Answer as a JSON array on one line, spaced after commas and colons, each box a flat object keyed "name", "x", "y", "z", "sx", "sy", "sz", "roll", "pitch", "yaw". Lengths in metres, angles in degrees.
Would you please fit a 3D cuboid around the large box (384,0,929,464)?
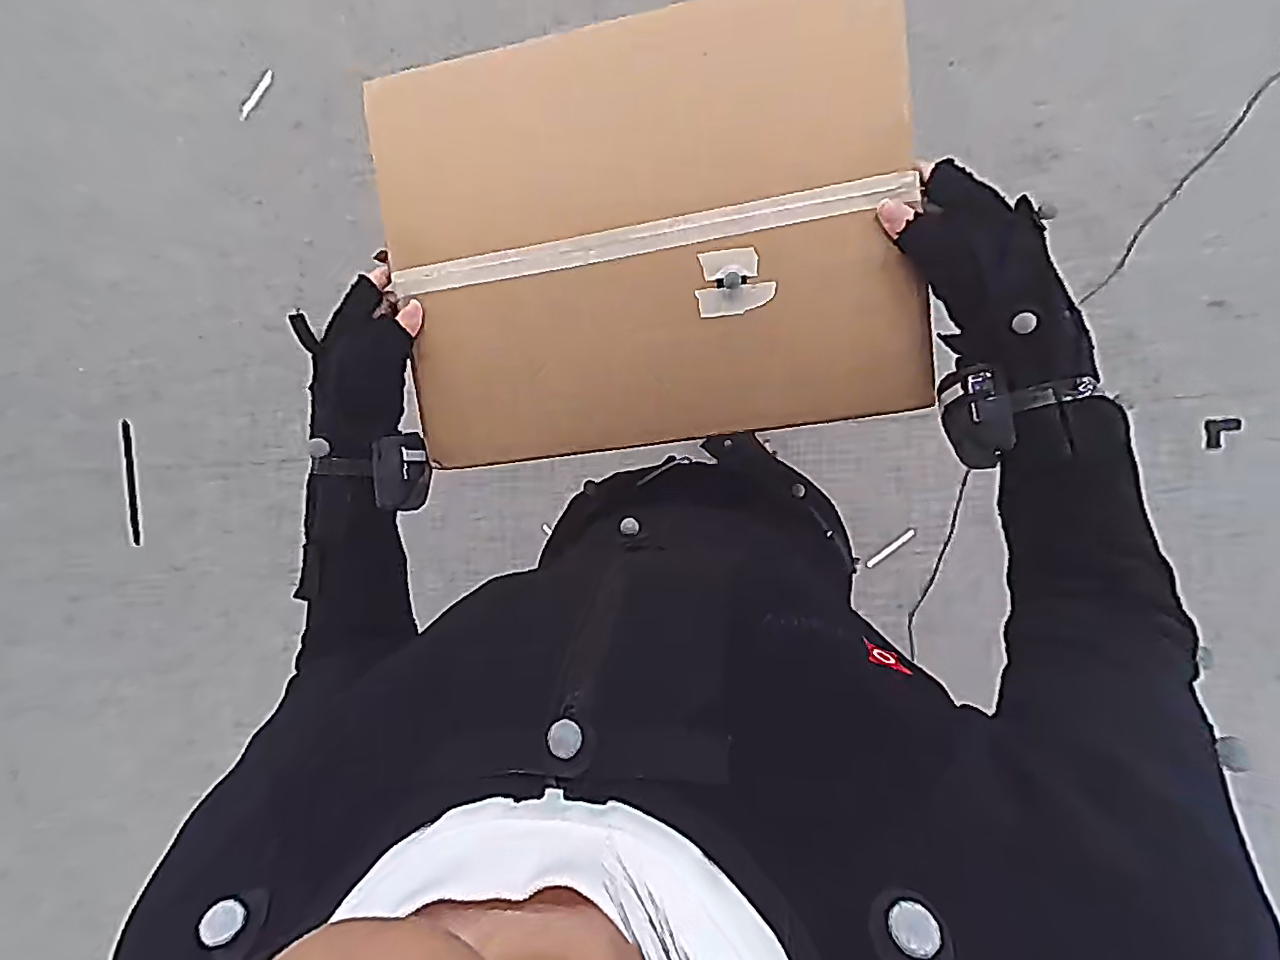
[{"name": "large box", "x": 0.023, "y": -0.208, "z": 0.574, "sx": 0.408, "sy": 0.320, "sz": 0.320, "roll": -8, "pitch": 96, "yaw": 8}]
